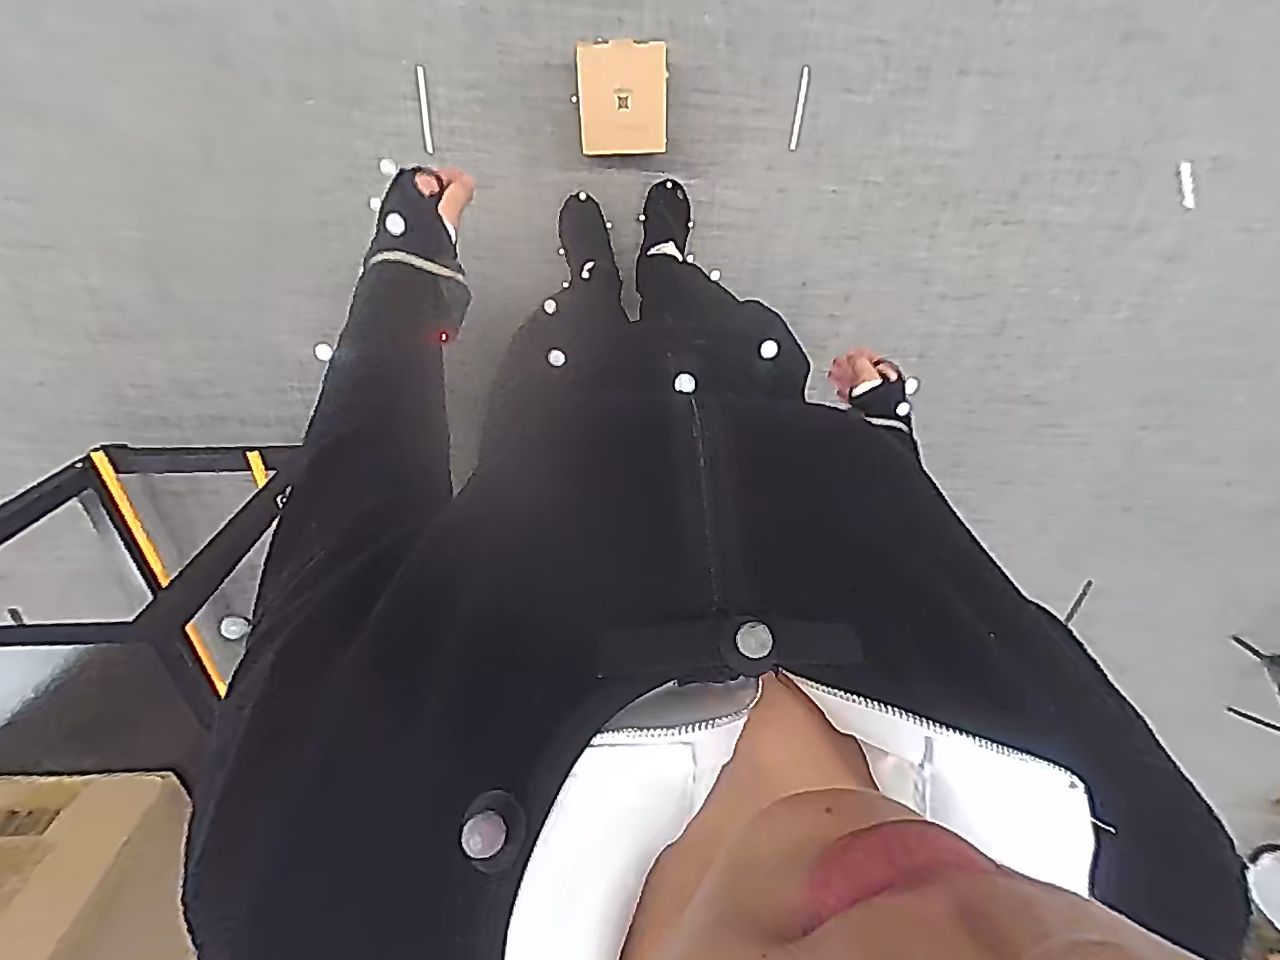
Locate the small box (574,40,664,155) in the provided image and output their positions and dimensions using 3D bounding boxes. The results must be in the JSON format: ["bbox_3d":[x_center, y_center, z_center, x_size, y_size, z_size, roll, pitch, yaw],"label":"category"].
[{"bbox_3d":[-0.044,-0.752,1.079,0.168,0.176,0.179,-4,123,-3],"label":"small box"}]
